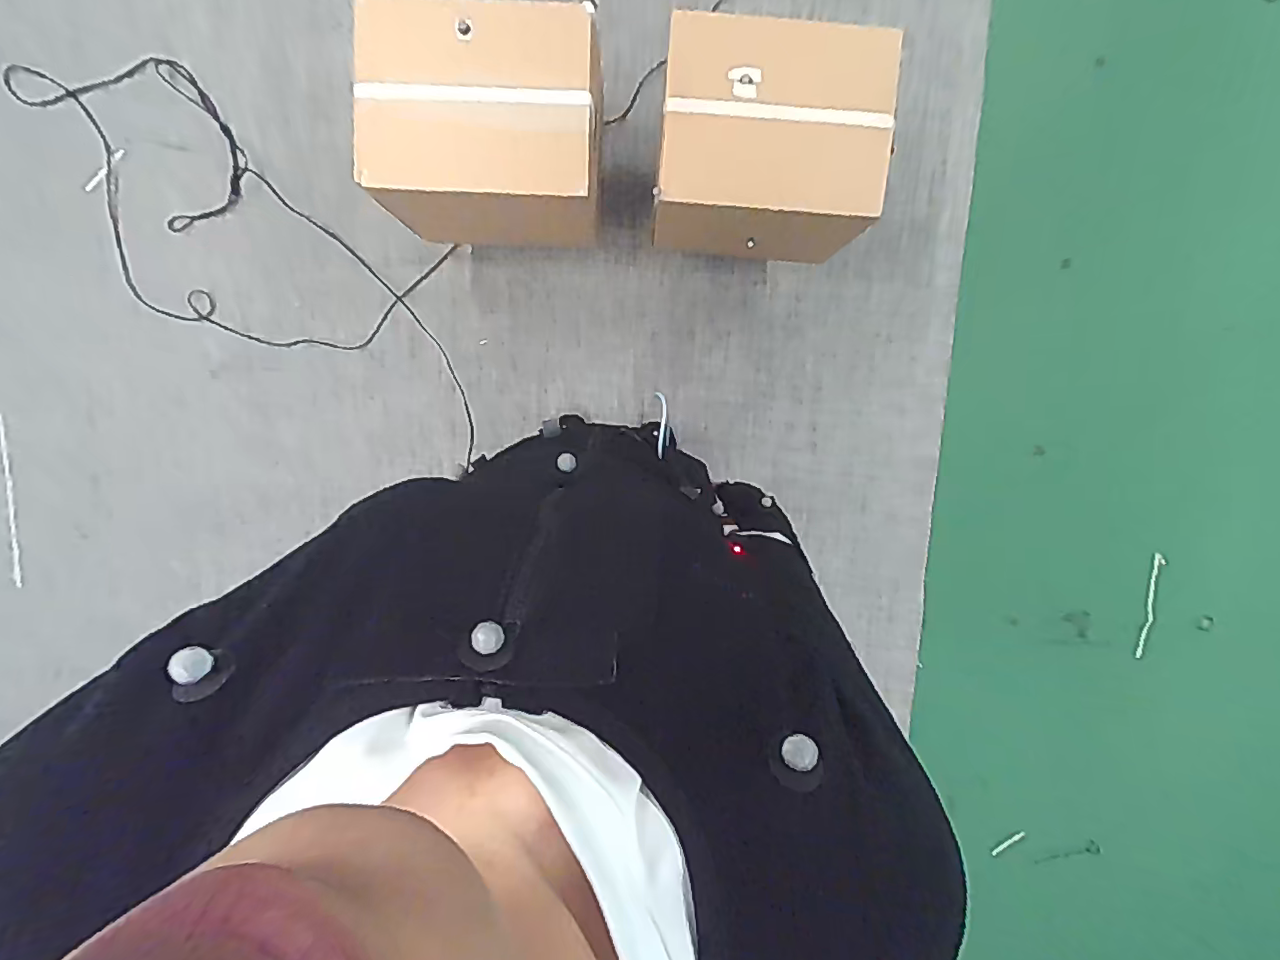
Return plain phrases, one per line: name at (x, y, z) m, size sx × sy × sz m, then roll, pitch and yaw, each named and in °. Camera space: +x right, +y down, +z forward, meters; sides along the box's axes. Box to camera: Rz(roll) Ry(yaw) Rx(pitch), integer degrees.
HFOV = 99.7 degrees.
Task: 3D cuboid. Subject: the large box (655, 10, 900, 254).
large box at (0.246, -0.669, 1.102) m, size 0.408 × 0.320 × 0.320 m, roll 5°, pitch 97°, yaw -1°
